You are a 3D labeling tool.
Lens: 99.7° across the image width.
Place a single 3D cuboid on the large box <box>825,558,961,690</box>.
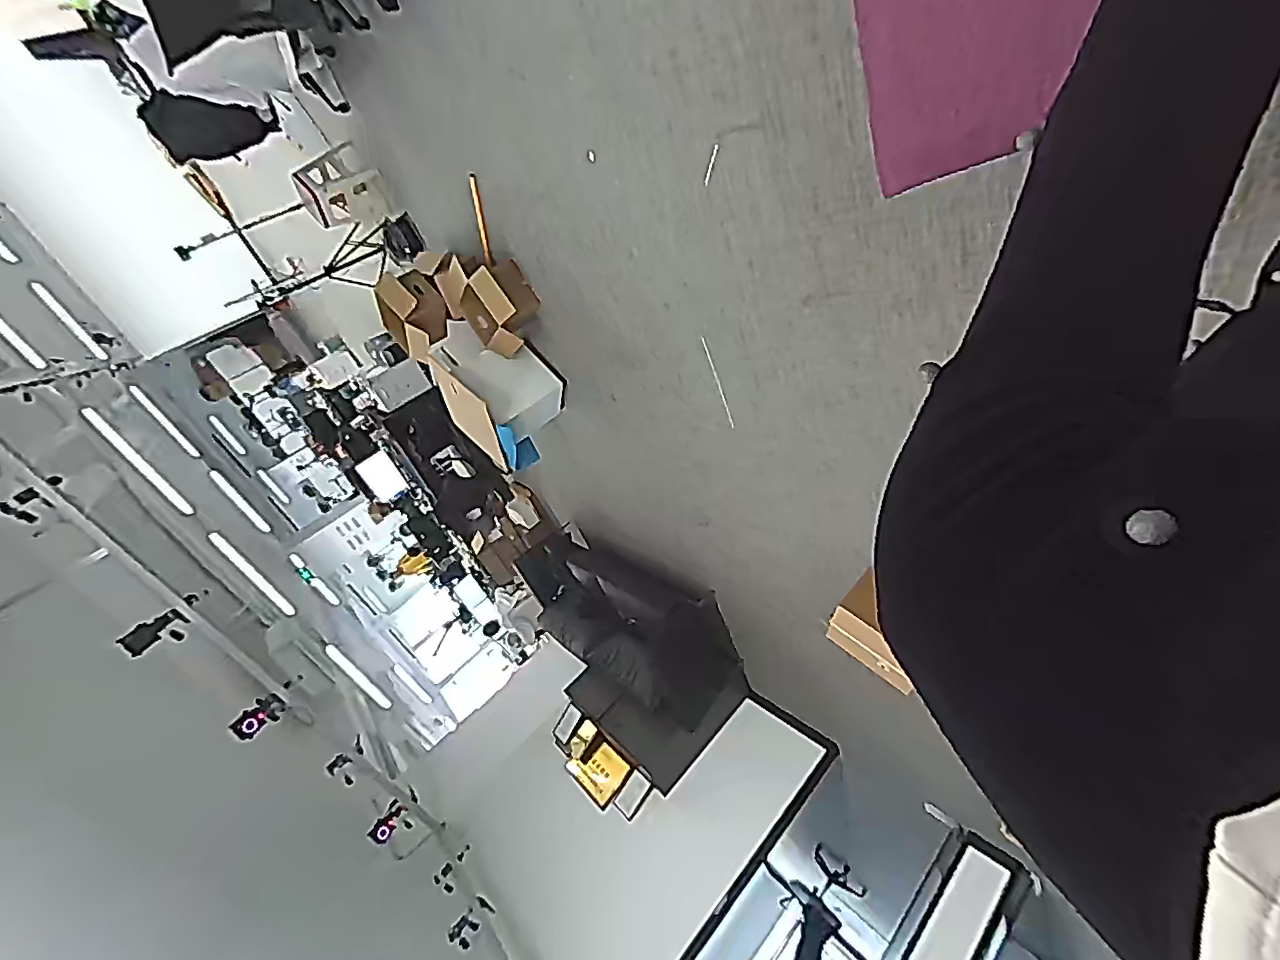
[{"bbox_3d":[1.090,0.620,2.364,0.408,0.320,0.320,34,151,29],"label":"large box"}]
